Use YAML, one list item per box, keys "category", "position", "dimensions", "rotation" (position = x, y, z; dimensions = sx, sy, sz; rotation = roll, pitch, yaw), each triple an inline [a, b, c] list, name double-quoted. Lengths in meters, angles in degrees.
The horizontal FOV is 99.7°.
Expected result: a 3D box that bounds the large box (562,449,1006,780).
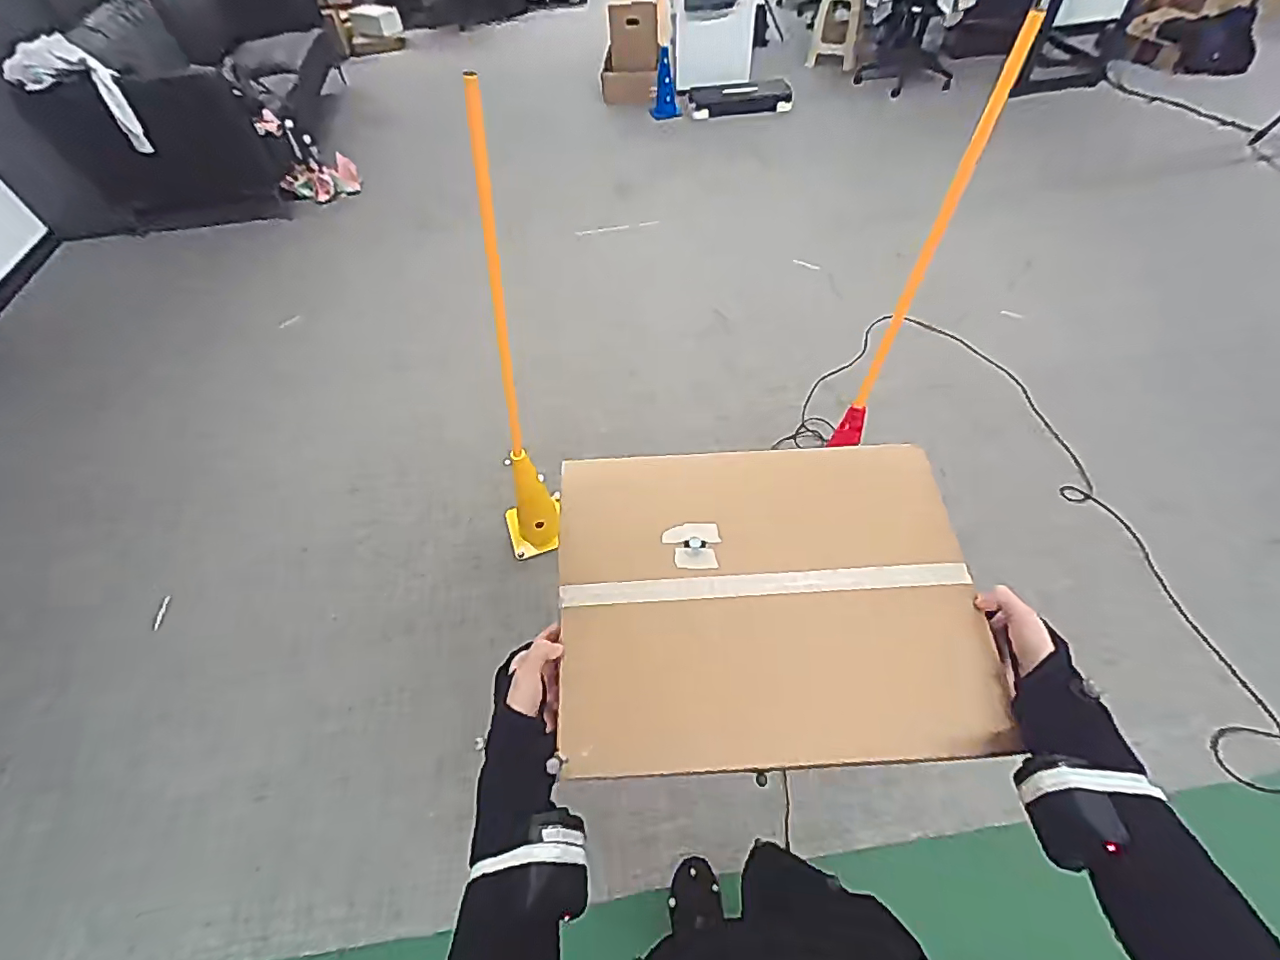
- category: "large box"
  position: [0.126, 0.183, 0.677]
  dimensions: [0.408, 0.320, 0.320]
  rotation: [-4, 61, 0]
